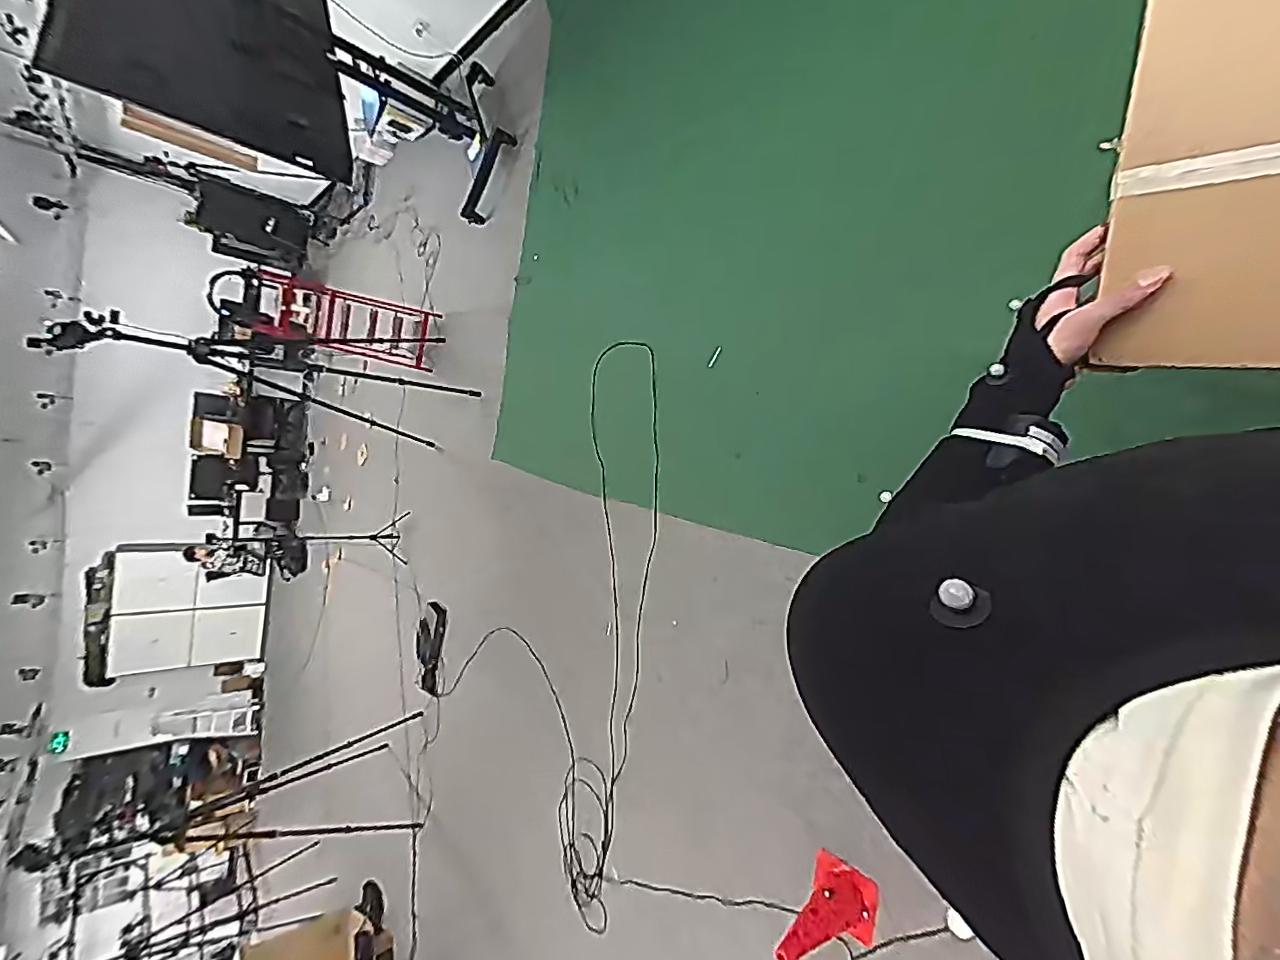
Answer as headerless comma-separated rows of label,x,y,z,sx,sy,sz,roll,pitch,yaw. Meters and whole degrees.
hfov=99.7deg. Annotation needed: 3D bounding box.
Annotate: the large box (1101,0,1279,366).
large box,0.672,-0.263,0.439,0.408,0.320,0.320,13,112,45
